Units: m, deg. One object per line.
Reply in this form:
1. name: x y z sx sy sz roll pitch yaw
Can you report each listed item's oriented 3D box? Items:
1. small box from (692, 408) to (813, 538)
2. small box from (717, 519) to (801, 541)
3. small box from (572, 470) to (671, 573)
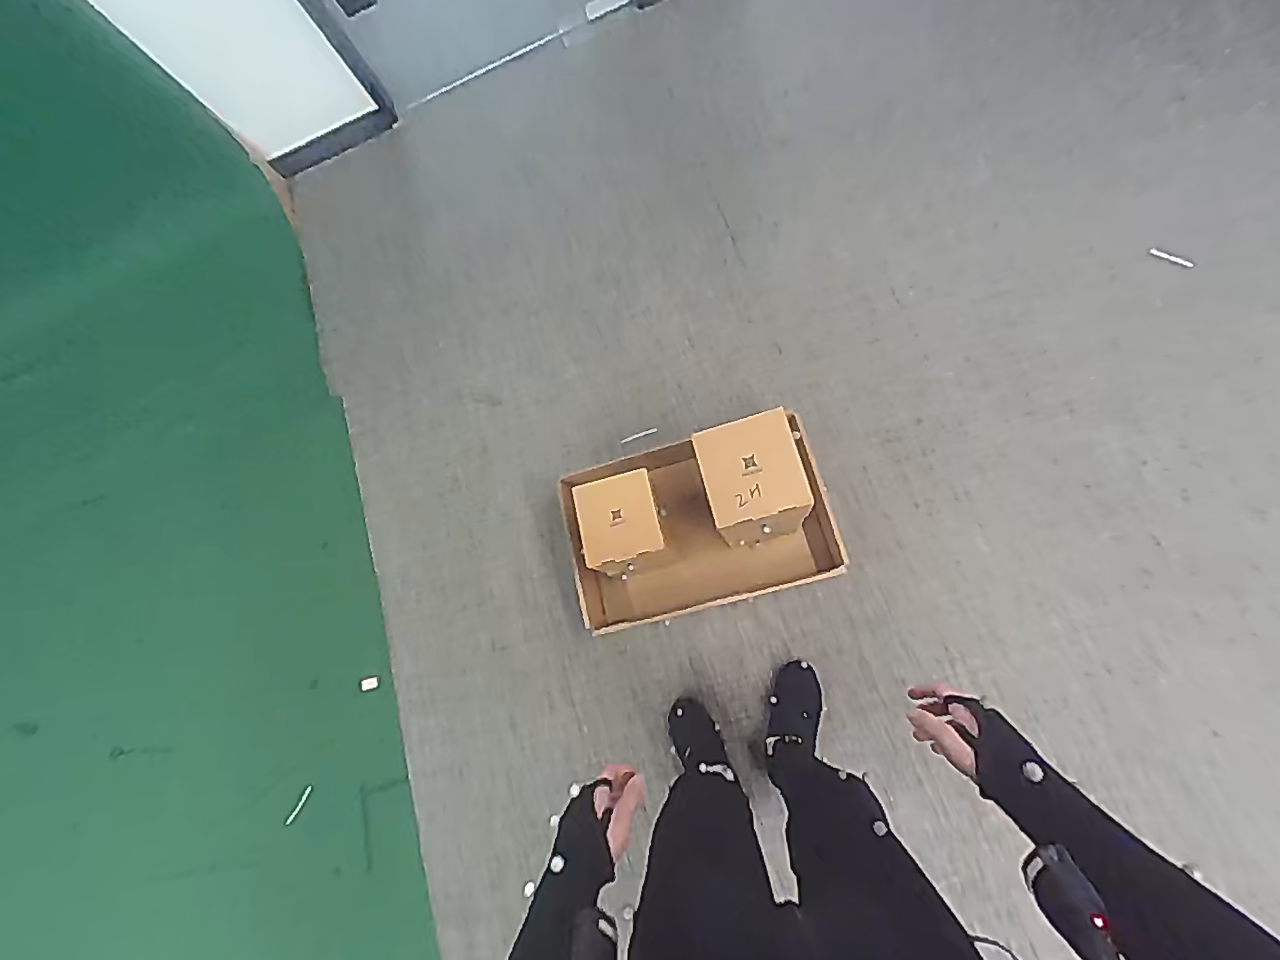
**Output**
1. small box: 0.201 -0.004 0.982 0.168 0.176 0.179 -16 75 9
2. small box: 0.236 0.028 1.140 0.168 0.176 0.179 -14 74 9
3. small box: -0.035 0.097 1.178 0.168 0.176 0.179 -15 75 7
